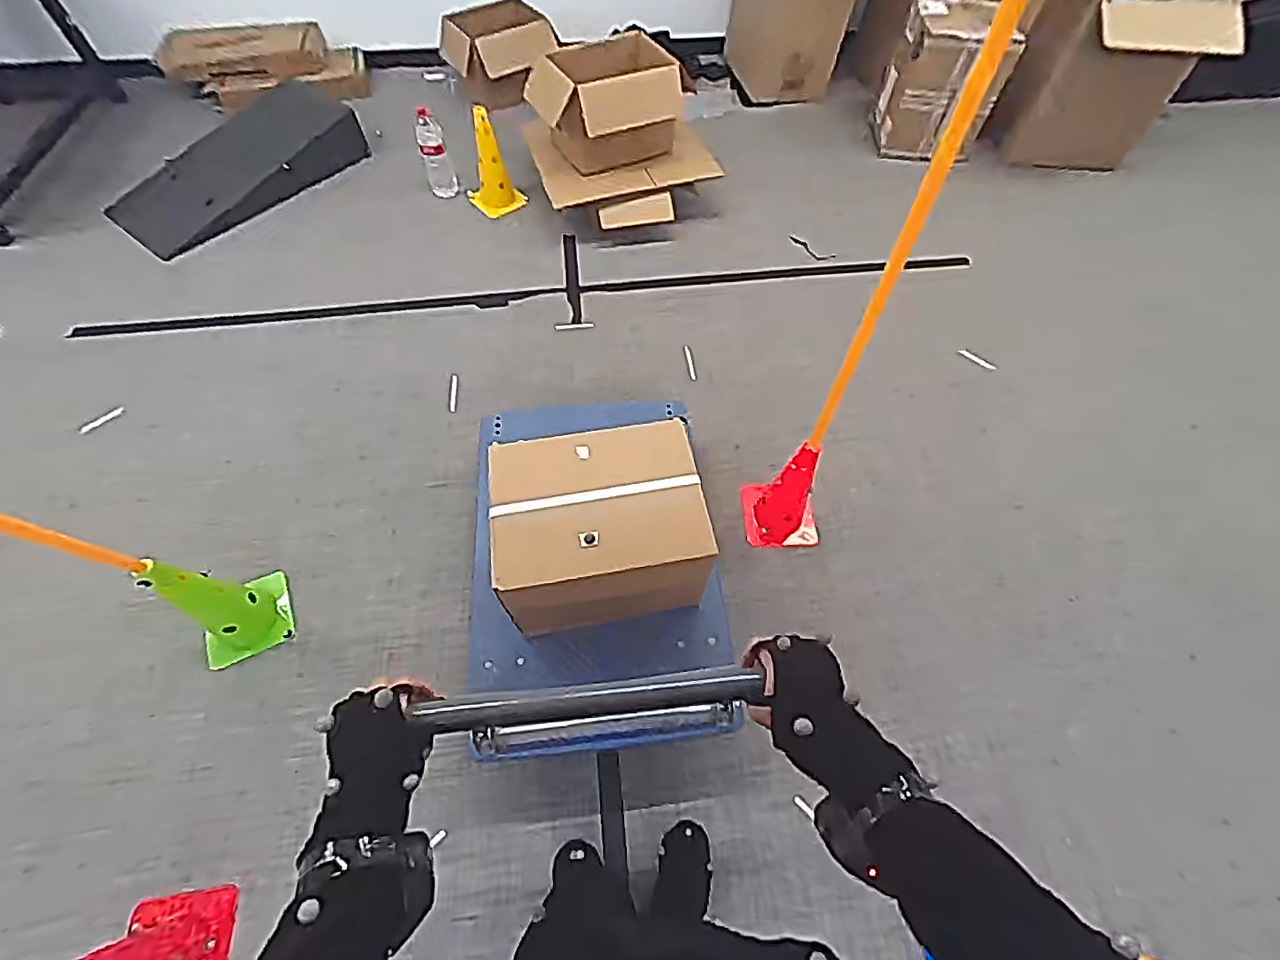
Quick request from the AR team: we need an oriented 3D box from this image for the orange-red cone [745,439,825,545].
[{"bbox_3d":[0.409,0.008,1.406,0.199,0.360,0.198,0,60,-2],"label":"orange-red cone"}]
